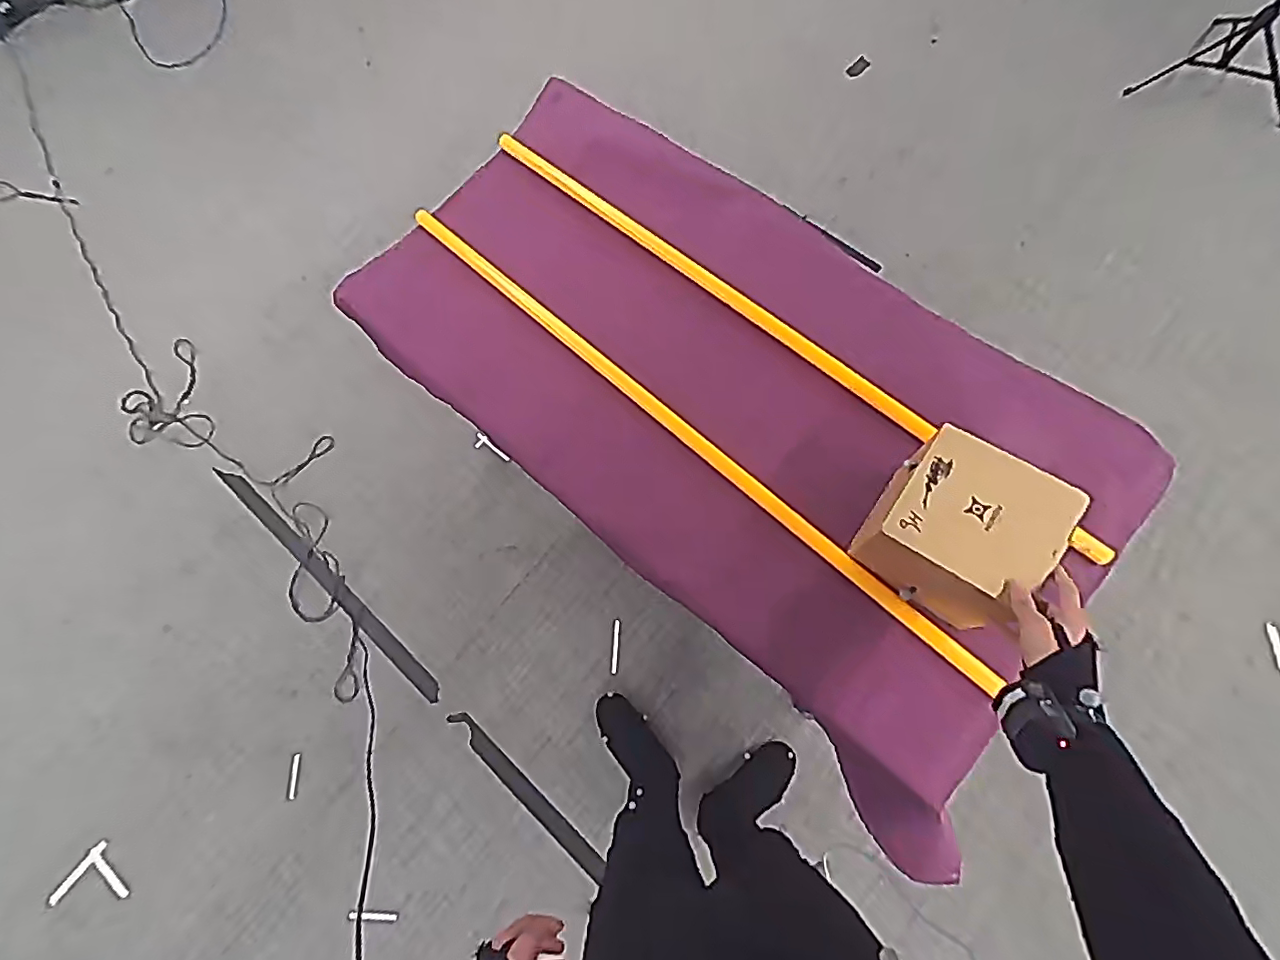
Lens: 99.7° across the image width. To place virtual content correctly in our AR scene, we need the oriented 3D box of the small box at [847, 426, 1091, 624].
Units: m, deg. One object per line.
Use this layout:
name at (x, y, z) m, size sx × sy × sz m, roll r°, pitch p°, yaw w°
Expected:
small box at (0.398, 0.066, 0.688) m, size 0.179 × 0.176 × 0.168 m, roll 34°, pitch 78°, yaw 15°
